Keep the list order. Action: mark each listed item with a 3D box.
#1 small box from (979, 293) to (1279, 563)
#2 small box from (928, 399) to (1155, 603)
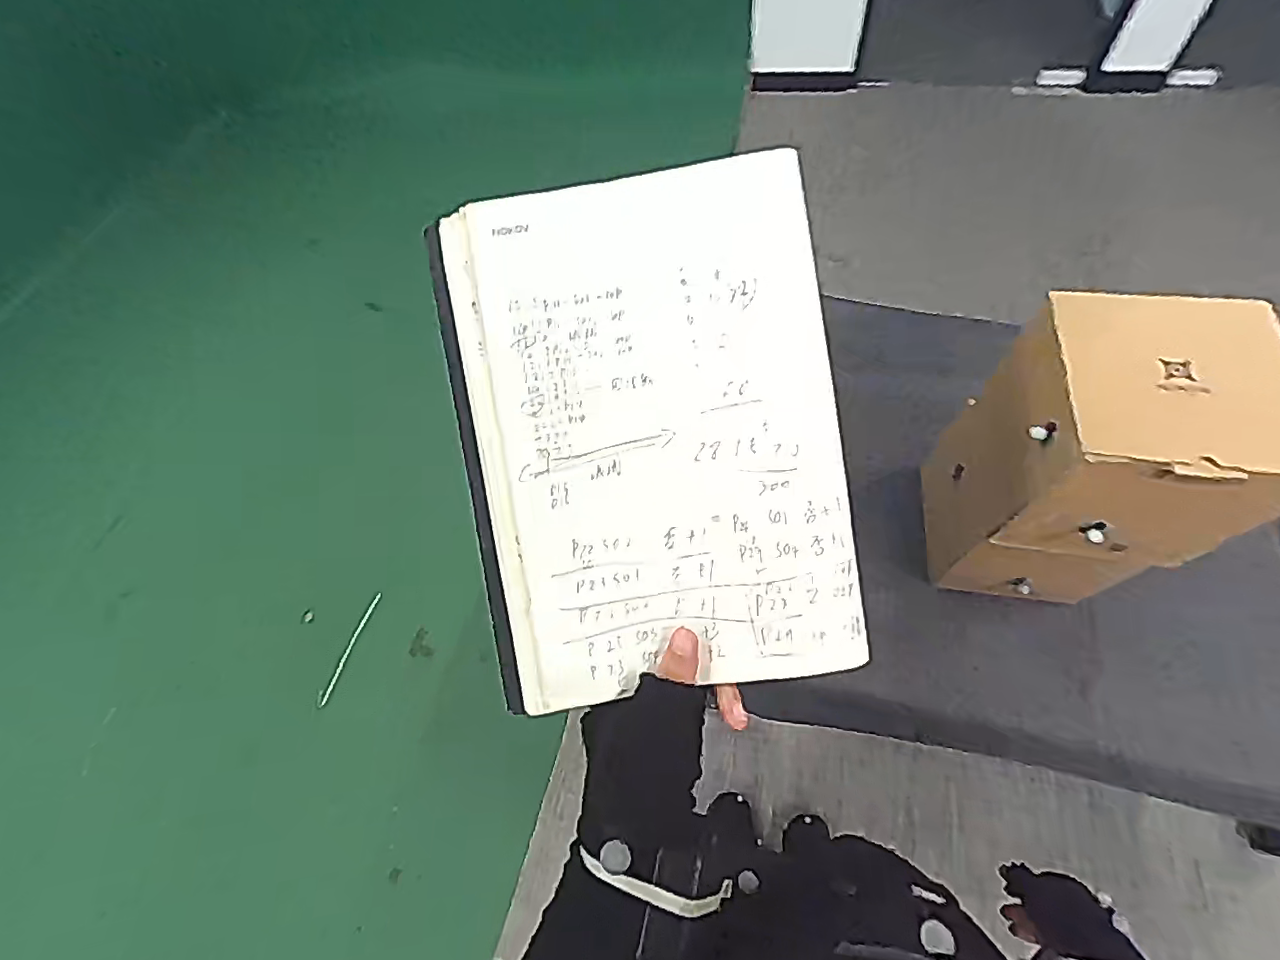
[{"bbox_3d":[0.439,-0.043,0.498,0.168,0.176,0.179,7,62,11],"label":"small box"},{"bbox_3d":[0.458,0.029,0.643,0.168,0.176,0.179,6,62,11],"label":"small box"}]
